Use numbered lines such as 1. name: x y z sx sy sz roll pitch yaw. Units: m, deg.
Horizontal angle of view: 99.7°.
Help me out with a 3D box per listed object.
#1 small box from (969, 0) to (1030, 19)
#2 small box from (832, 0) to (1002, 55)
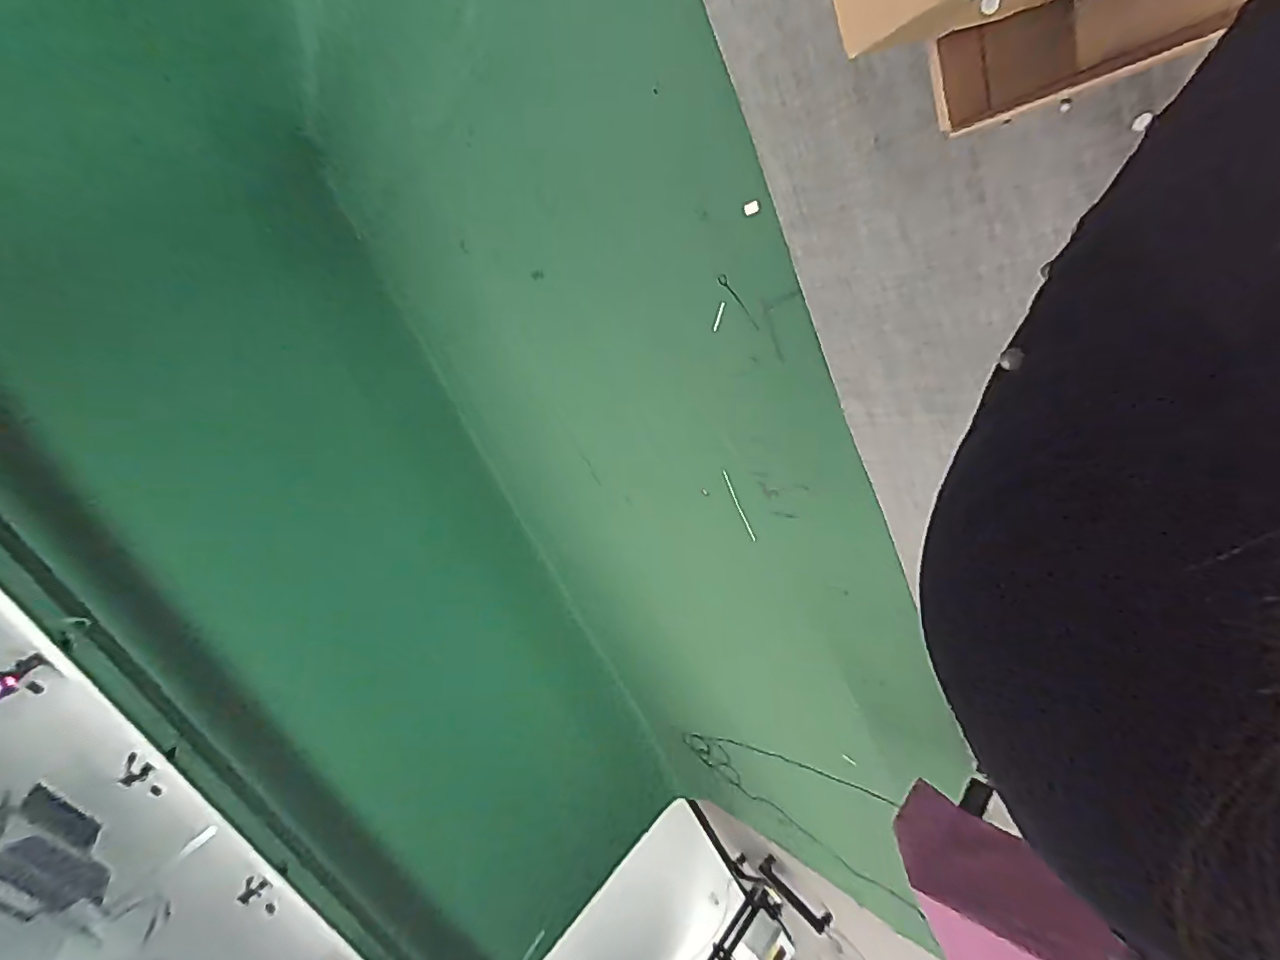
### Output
1. small box: 0.334 -0.499 0.422 0.179 0.176 0.168 3 124 50
2. small box: 0.225 -0.410 0.336 0.179 0.176 0.168 3 124 50
